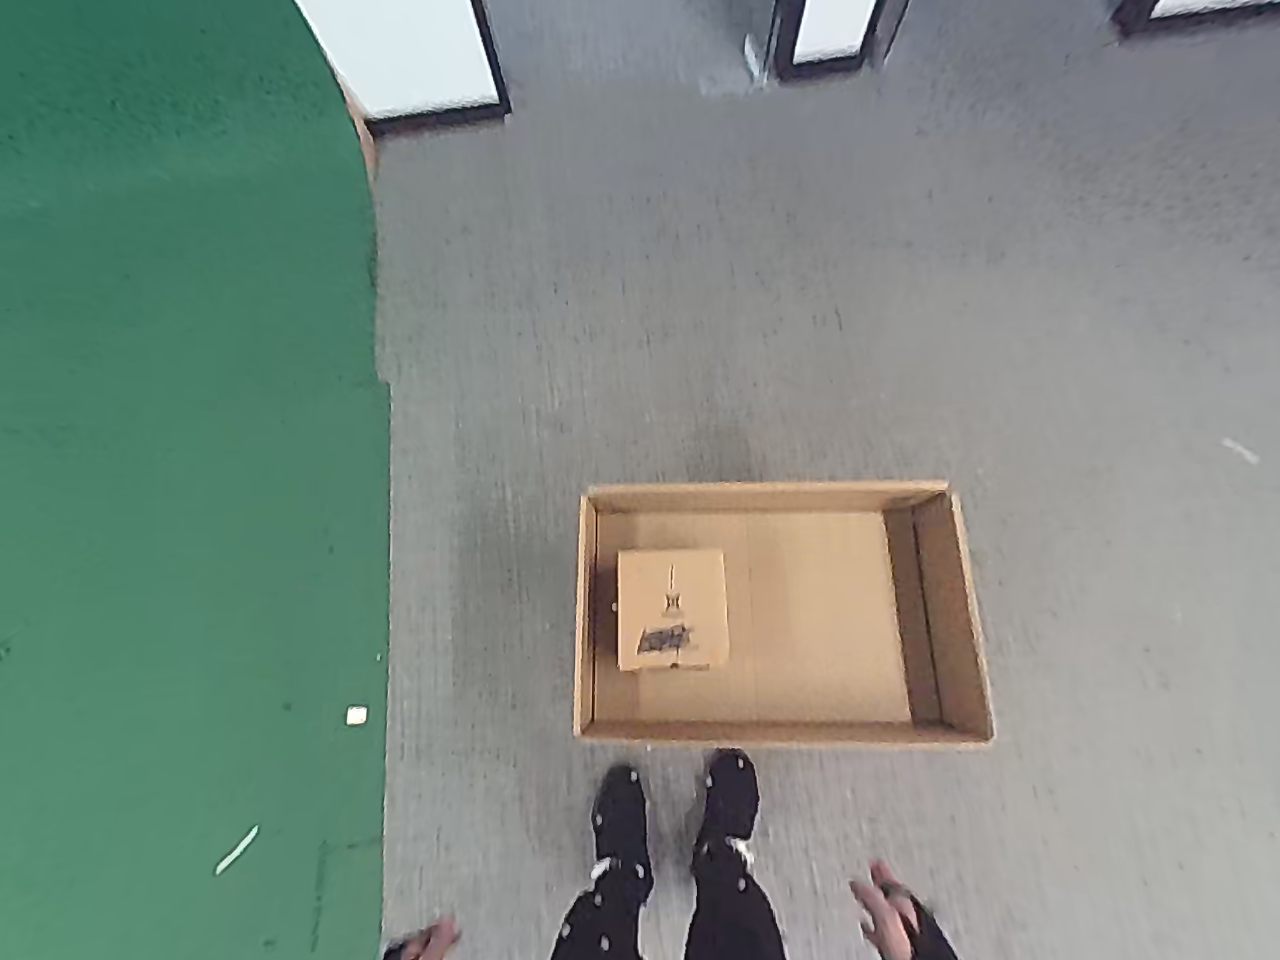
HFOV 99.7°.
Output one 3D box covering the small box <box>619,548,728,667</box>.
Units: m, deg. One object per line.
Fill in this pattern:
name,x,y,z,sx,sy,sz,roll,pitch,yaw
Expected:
small box,0.055,0.213,0.898,0.168,0.176,0.179,-2,74,3
